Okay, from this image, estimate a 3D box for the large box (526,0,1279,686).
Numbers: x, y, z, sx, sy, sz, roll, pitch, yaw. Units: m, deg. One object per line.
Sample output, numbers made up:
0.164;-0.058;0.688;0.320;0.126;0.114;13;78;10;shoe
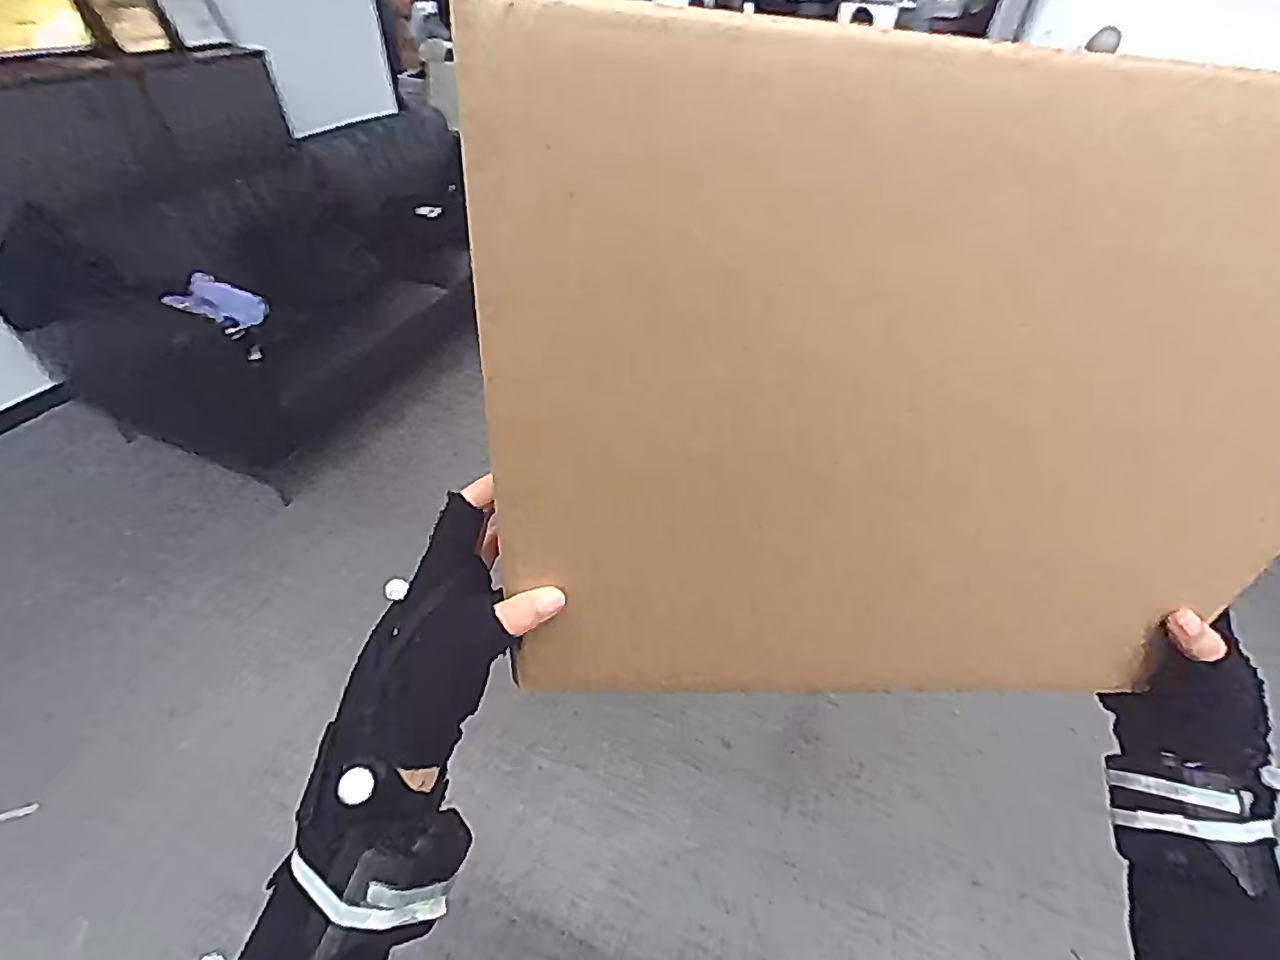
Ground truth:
0.130;-0.084;0.379;0.408;0.320;0.320;1;35;-8;large box
